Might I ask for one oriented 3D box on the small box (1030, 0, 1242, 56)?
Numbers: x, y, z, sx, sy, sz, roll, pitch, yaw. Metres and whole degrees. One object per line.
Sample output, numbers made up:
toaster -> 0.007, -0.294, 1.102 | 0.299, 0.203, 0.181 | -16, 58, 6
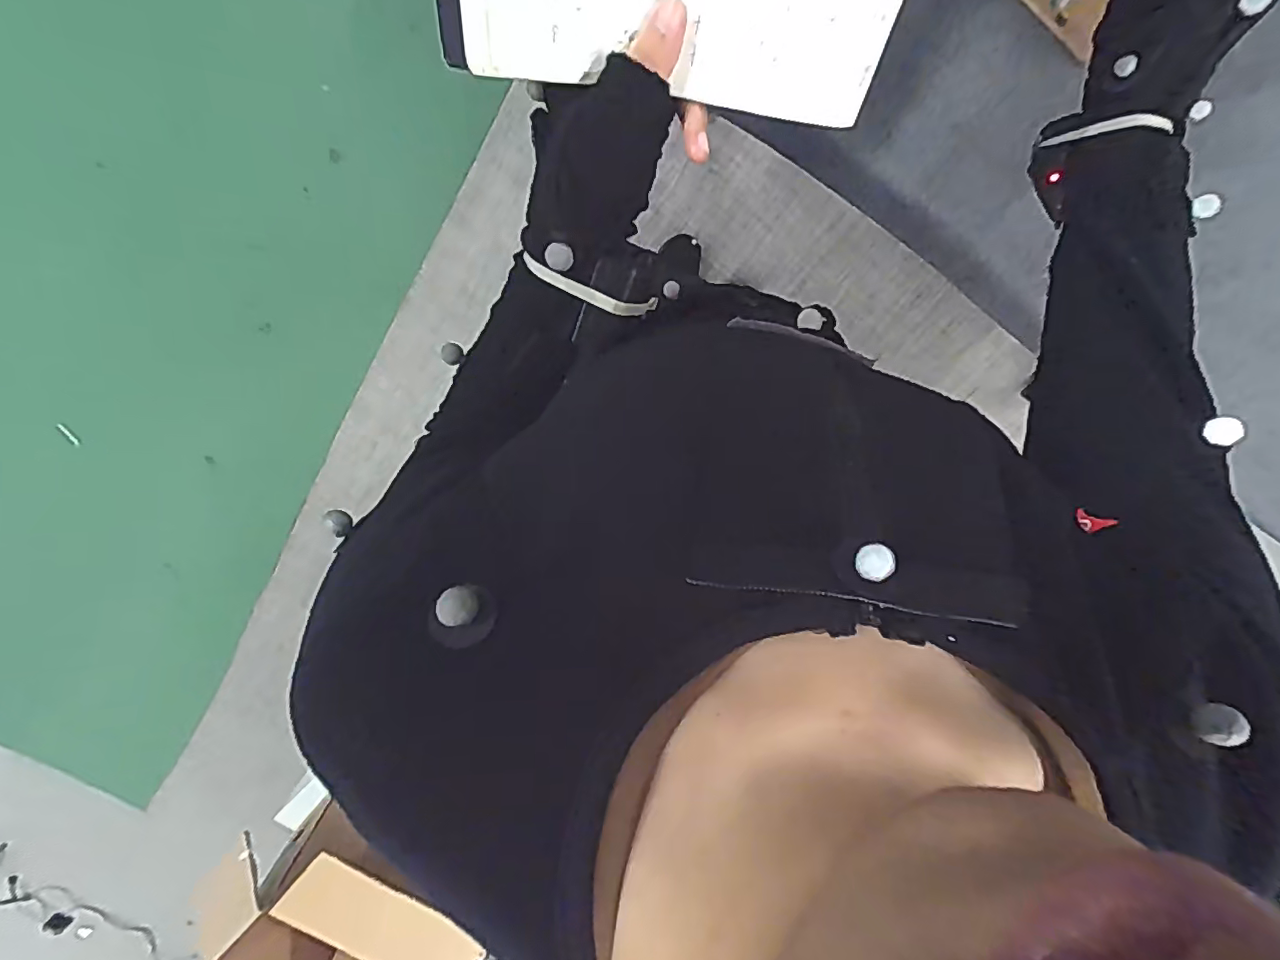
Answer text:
small box -> 0.428, -0.488, 0.418 | 0.168, 0.176, 0.179 | 33, 113, -10
